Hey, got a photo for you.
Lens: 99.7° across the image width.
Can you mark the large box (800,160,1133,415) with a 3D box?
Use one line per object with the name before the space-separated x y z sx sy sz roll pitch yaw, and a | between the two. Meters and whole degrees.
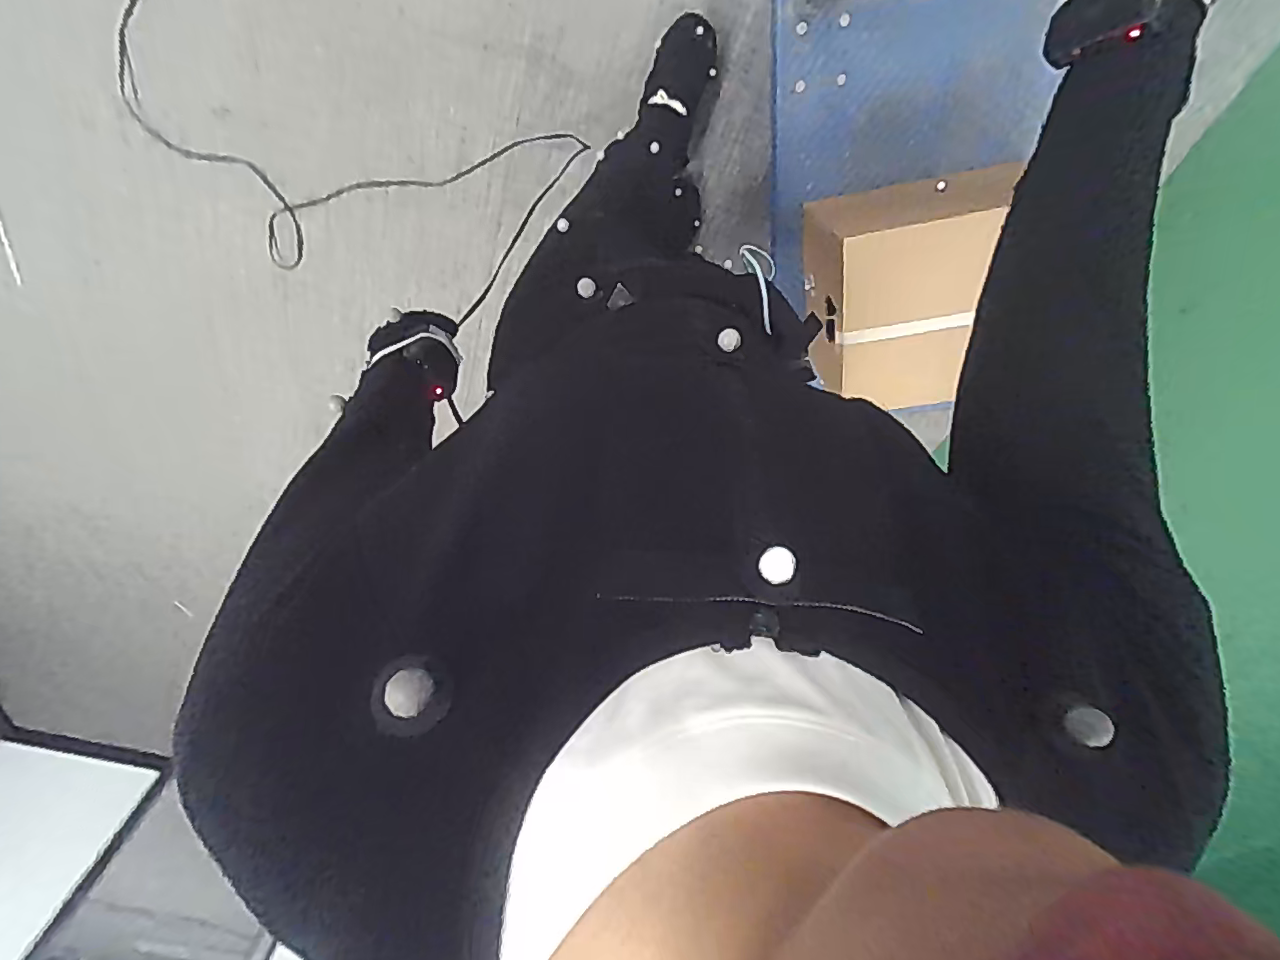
large box | 0.531 -0.355 0.986 0.408 0.320 0.320 -9 126 9
